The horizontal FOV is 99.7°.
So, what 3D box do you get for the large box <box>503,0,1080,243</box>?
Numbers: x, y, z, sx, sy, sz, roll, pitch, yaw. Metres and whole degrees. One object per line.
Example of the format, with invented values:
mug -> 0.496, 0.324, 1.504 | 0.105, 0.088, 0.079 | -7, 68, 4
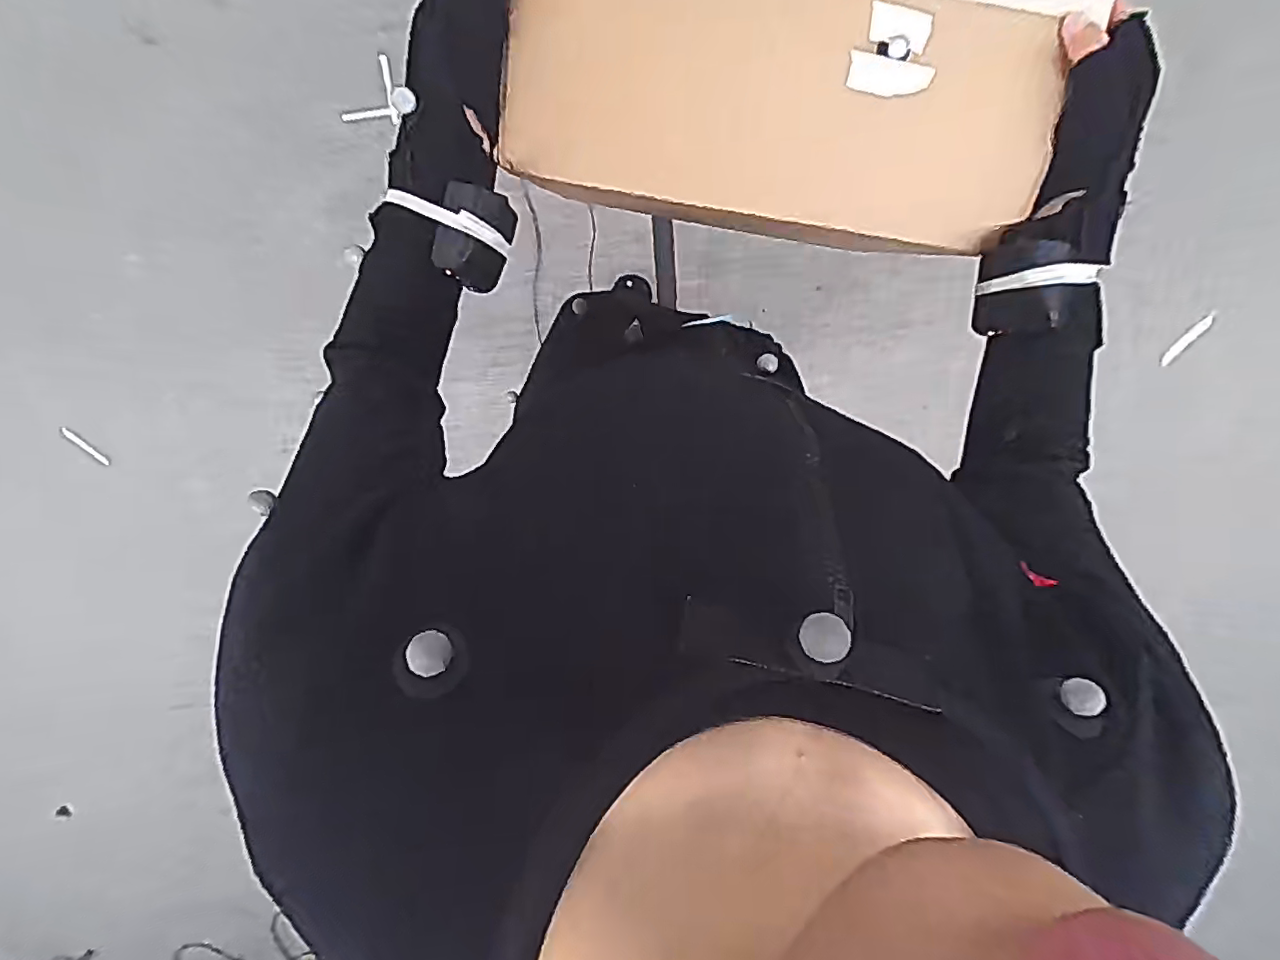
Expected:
large box -> 0.108, -0.415, 0.502 | 0.408, 0.320, 0.320 | 8, 115, -3
